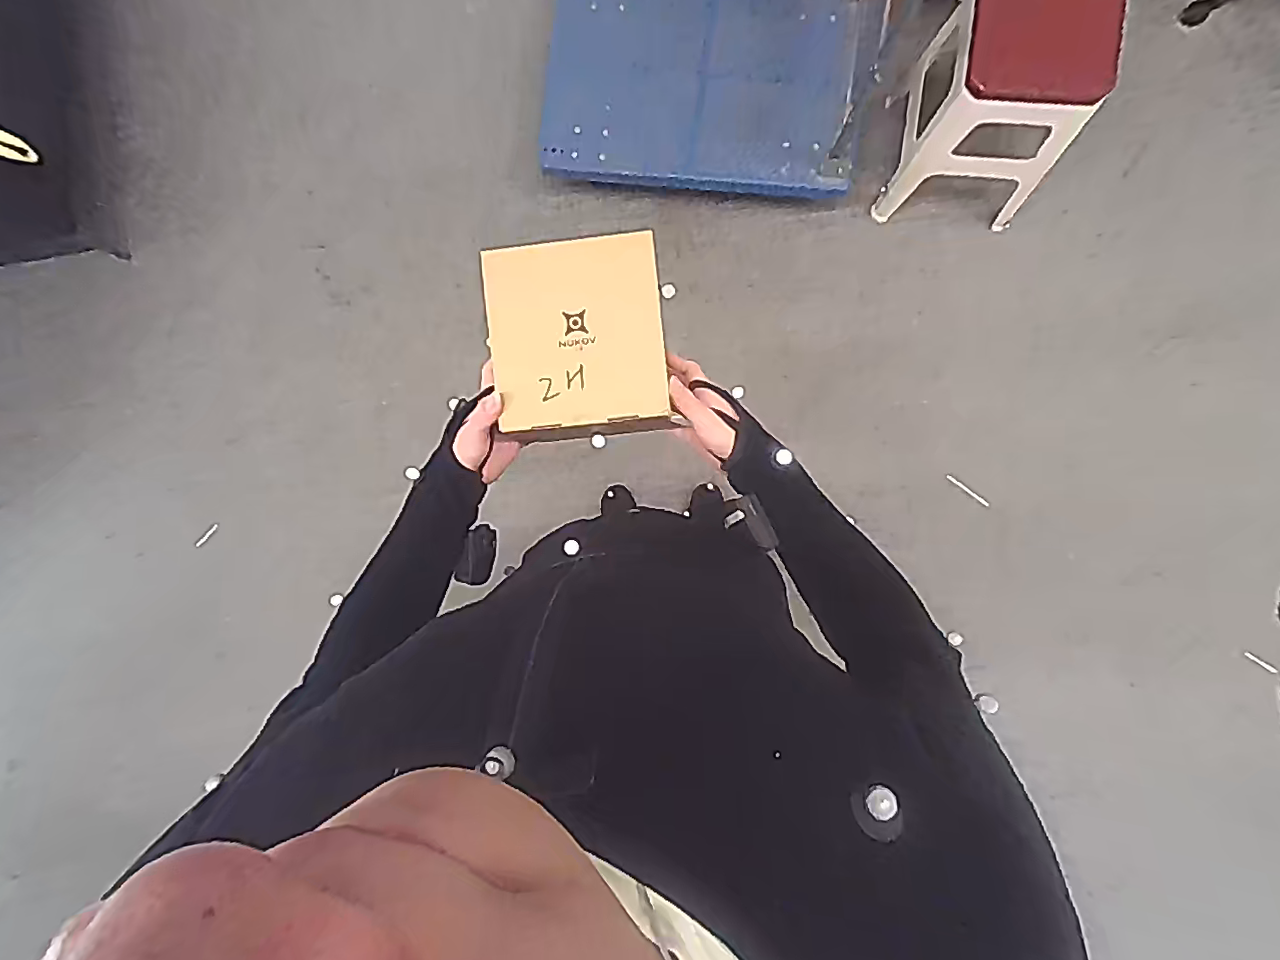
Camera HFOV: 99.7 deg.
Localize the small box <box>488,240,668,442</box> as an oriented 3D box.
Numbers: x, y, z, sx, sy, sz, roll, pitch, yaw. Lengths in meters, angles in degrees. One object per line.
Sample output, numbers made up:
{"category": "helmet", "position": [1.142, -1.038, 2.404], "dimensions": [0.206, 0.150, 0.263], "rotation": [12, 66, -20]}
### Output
{"category": "small box", "position": [-0.059, -0.140, 0.601], "dimensions": [0.168, 0.176, 0.179], "rotation": [-5, 91, 2]}
